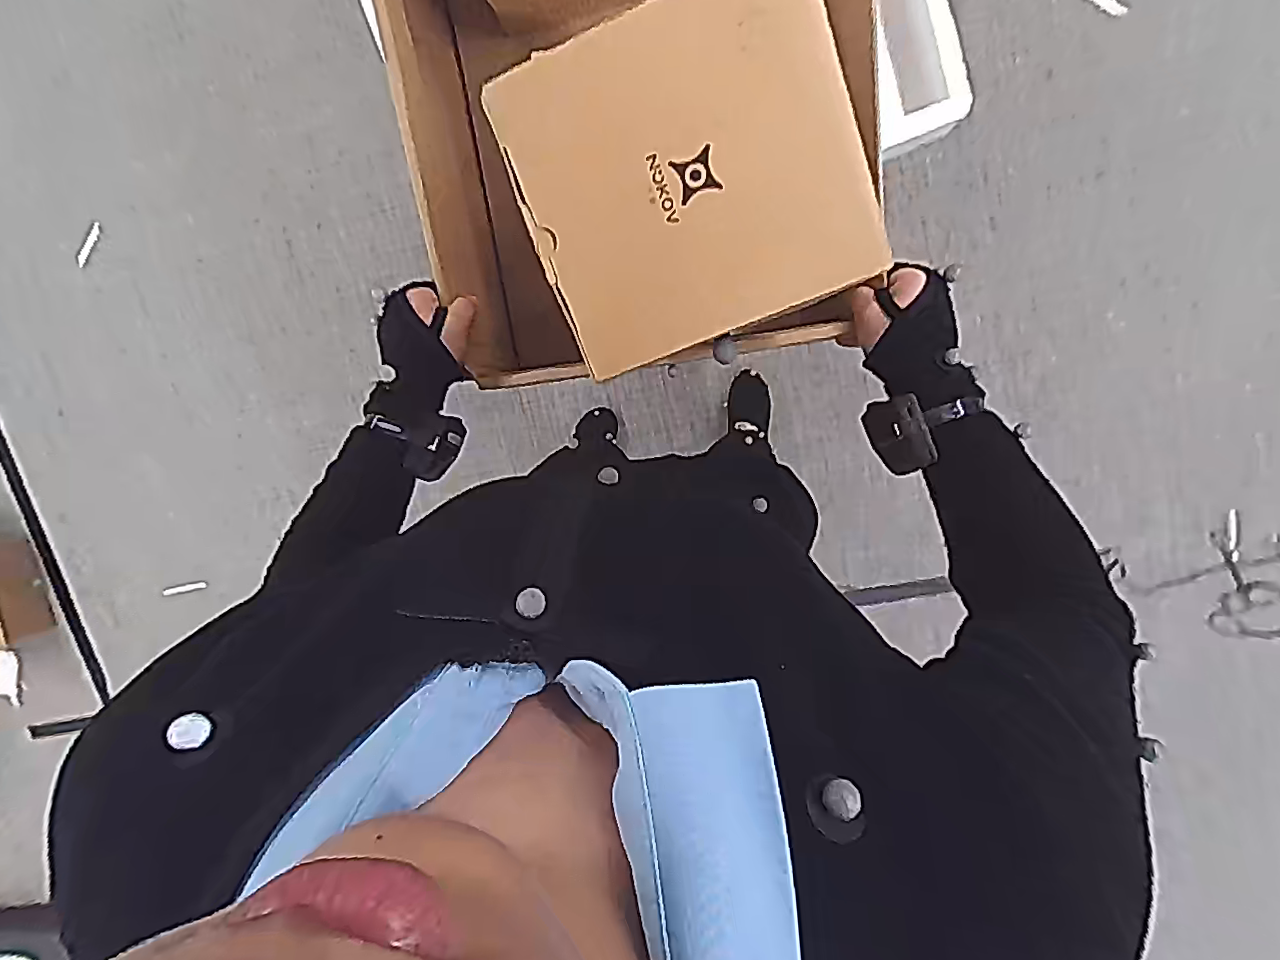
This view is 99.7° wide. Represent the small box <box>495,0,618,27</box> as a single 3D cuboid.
[{"bbox_3d":[-0.070,-0.533,0.450,0.179,0.176,0.168,-11,103,7],"label":"small box"}]

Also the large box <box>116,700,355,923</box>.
[{"bbox_3d":[-1.157,0.949,1.587,0.320,0.320,0.408,-39,95,11],"label":"large box"}]
